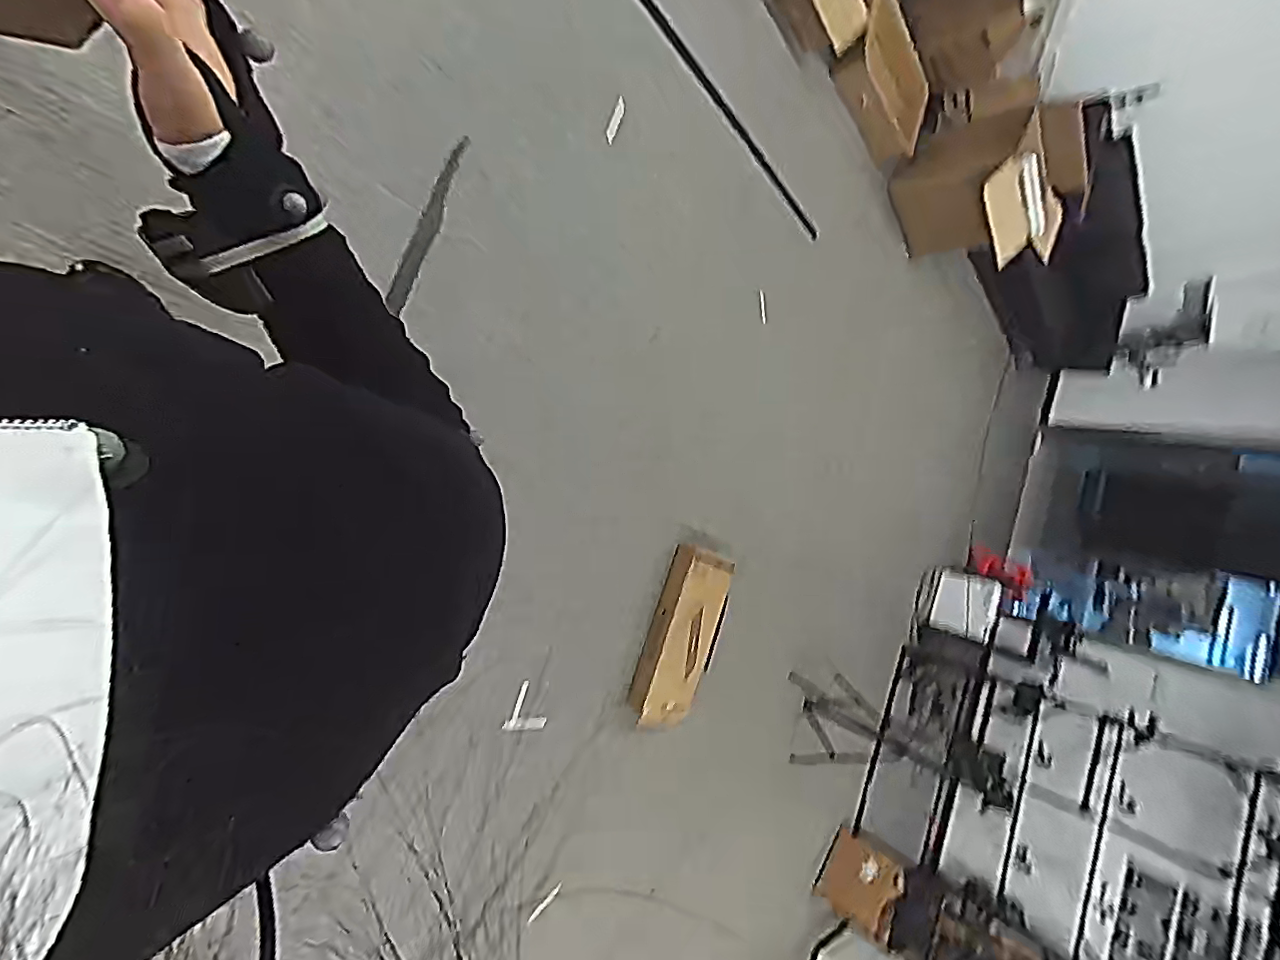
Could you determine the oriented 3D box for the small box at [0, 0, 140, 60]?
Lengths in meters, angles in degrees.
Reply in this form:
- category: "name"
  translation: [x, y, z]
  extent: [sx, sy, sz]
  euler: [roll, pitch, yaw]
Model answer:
- category: "small box"
  translation: [-0.325, -0.287, 0.193]
  extent: [0.168, 0.176, 0.179]
  euler: [-21, 124, -44]
